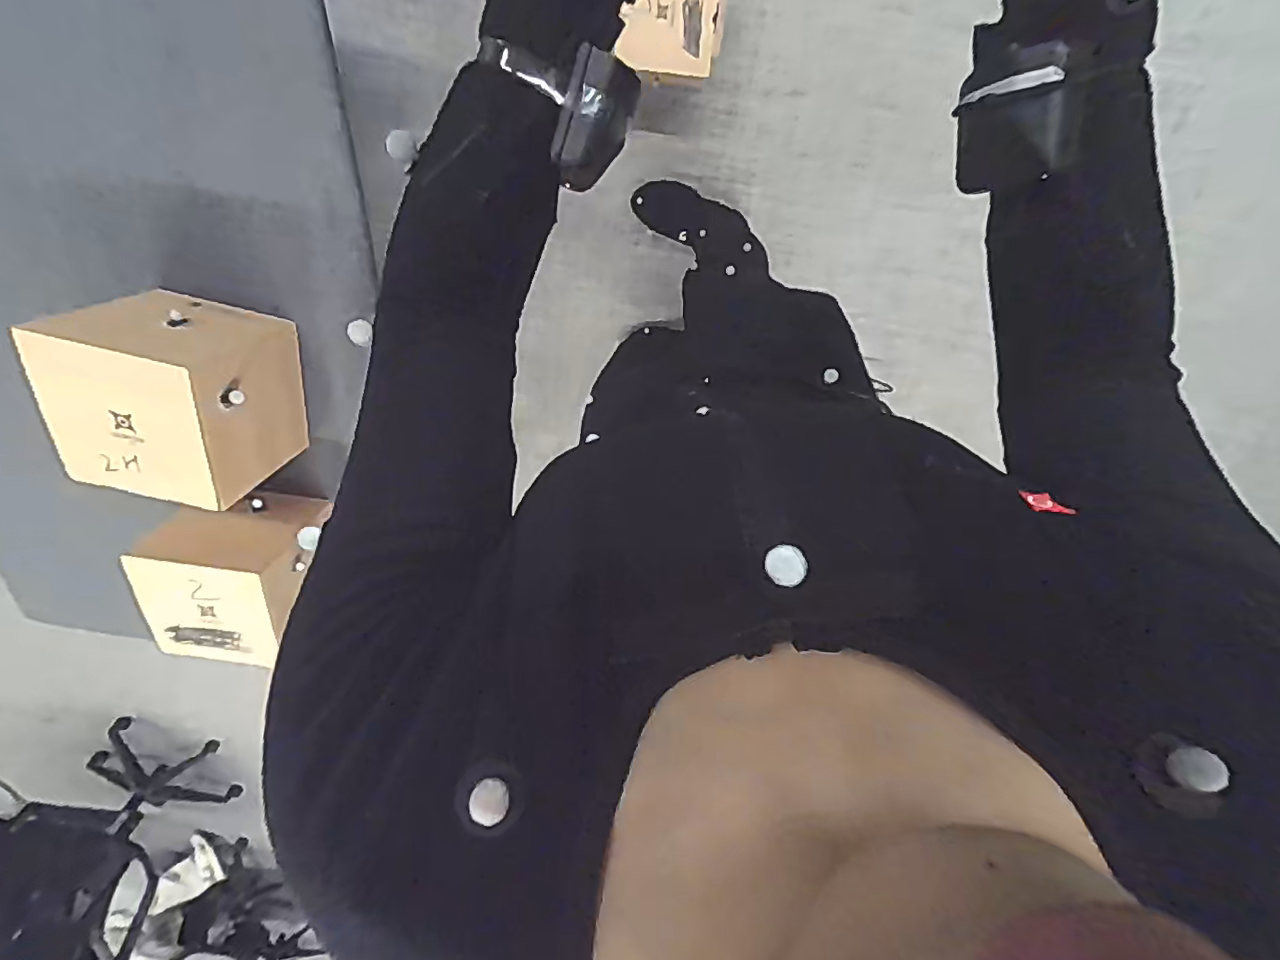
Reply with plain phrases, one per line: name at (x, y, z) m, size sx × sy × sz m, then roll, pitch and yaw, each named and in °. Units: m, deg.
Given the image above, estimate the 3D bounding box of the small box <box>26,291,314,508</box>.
small box at (-0.508, -0.100, 0.621) m, size 0.168 × 0.176 × 0.179 m, roll 14°, pitch 122°, yaw -3°

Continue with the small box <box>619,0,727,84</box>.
small box at (0.062, -0.840, 0.989) m, size 0.179 × 0.176 × 0.168 m, roll 7°, pitch 122°, yaw 0°
